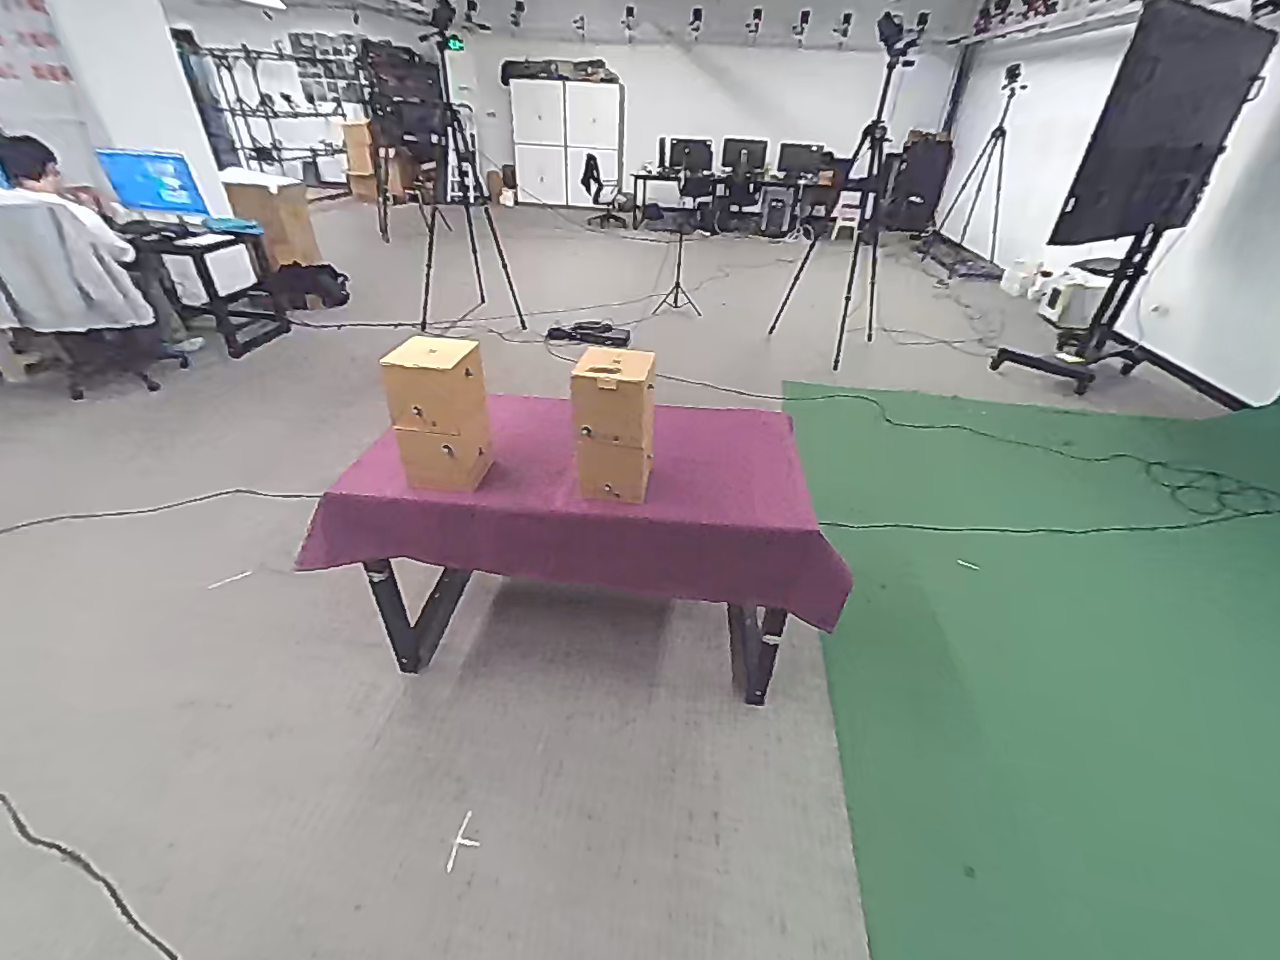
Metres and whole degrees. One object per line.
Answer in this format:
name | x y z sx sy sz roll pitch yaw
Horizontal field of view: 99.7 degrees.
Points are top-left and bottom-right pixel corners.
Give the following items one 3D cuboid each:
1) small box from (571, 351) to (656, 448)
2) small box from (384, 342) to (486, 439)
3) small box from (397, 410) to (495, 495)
small box | -0.057 -0.190 1.276 0.168 0.176 0.179 7 34 8
small box | -0.480 -0.217 1.300 0.168 0.176 0.179 6 35 5
small box | -0.484 -0.076 1.383 0.179 0.176 0.168 5 34 5
